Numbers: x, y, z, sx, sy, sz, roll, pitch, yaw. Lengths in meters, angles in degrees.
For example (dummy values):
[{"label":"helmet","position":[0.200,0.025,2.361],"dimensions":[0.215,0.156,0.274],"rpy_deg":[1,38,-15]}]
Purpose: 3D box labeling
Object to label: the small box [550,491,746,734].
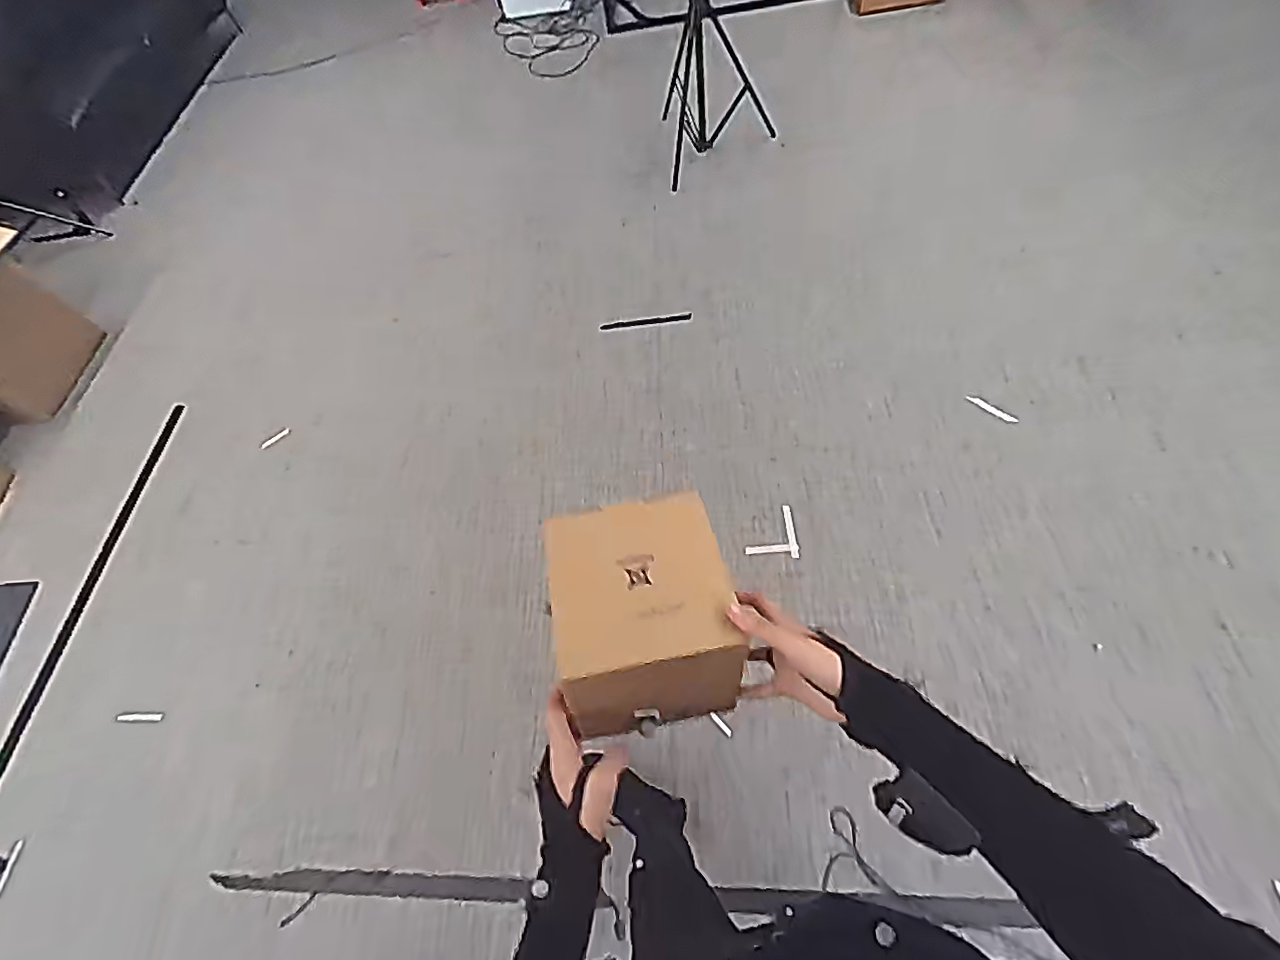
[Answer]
[{"label":"small box","position":[0.002,0.139,0.573],"dimensions":[0.168,0.176,0.179],"rpy_deg":[-9,47,-4]}]
